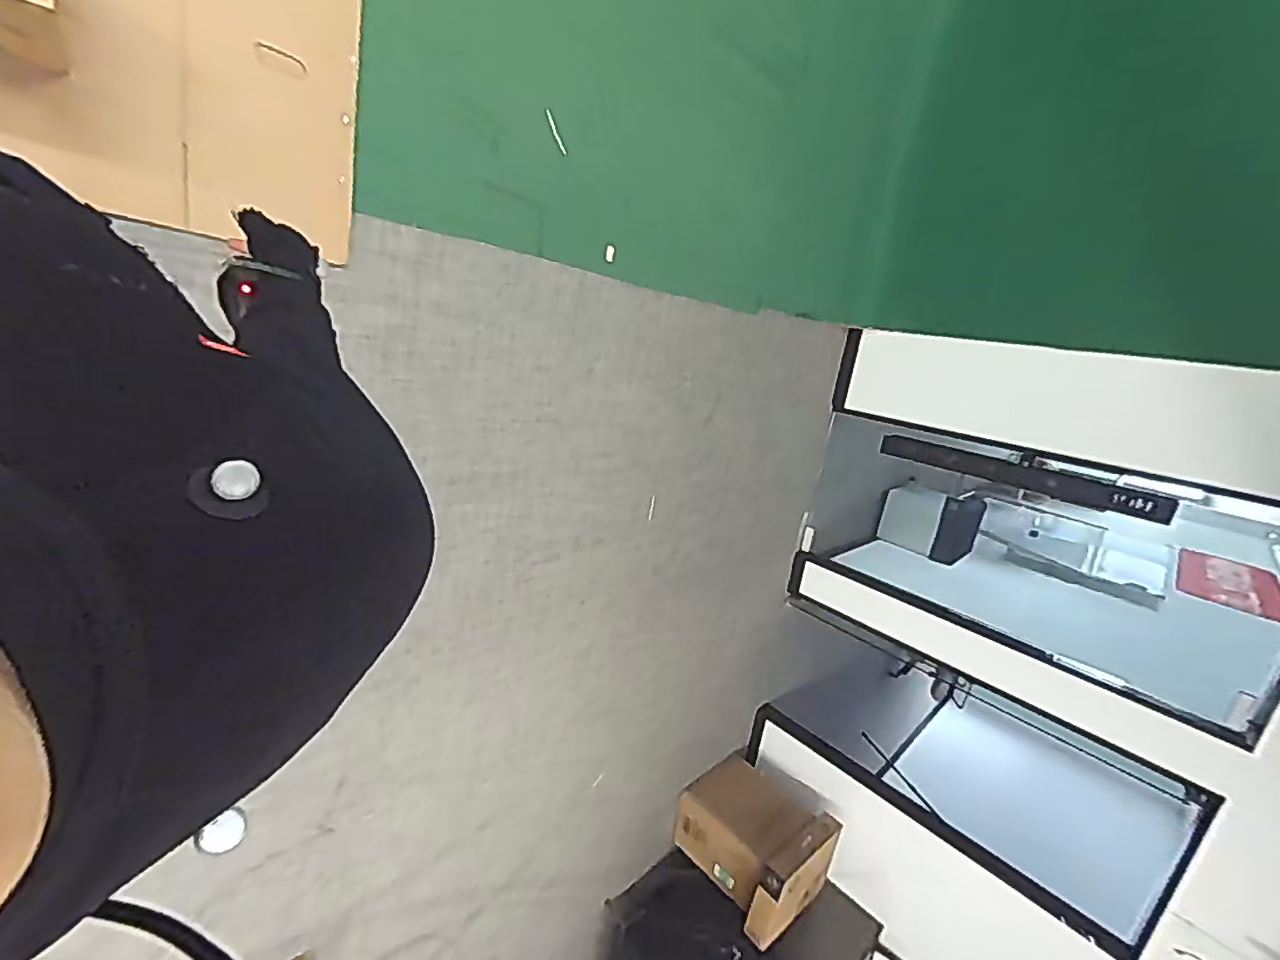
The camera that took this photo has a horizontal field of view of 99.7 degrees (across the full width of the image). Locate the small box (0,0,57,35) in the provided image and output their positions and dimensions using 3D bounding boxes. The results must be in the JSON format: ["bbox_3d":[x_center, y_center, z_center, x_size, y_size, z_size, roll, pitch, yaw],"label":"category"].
[{"bbox_3d":[-0.843,-0.700,0.663,0.168,0.176,0.179,-2,108,-45],"label":"small box"}]

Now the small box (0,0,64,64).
[{"bbox_3d":[-0.954,-0.747,0.774,0.168,0.176,0.179,-4,110,-43],"label":"small box"}]
